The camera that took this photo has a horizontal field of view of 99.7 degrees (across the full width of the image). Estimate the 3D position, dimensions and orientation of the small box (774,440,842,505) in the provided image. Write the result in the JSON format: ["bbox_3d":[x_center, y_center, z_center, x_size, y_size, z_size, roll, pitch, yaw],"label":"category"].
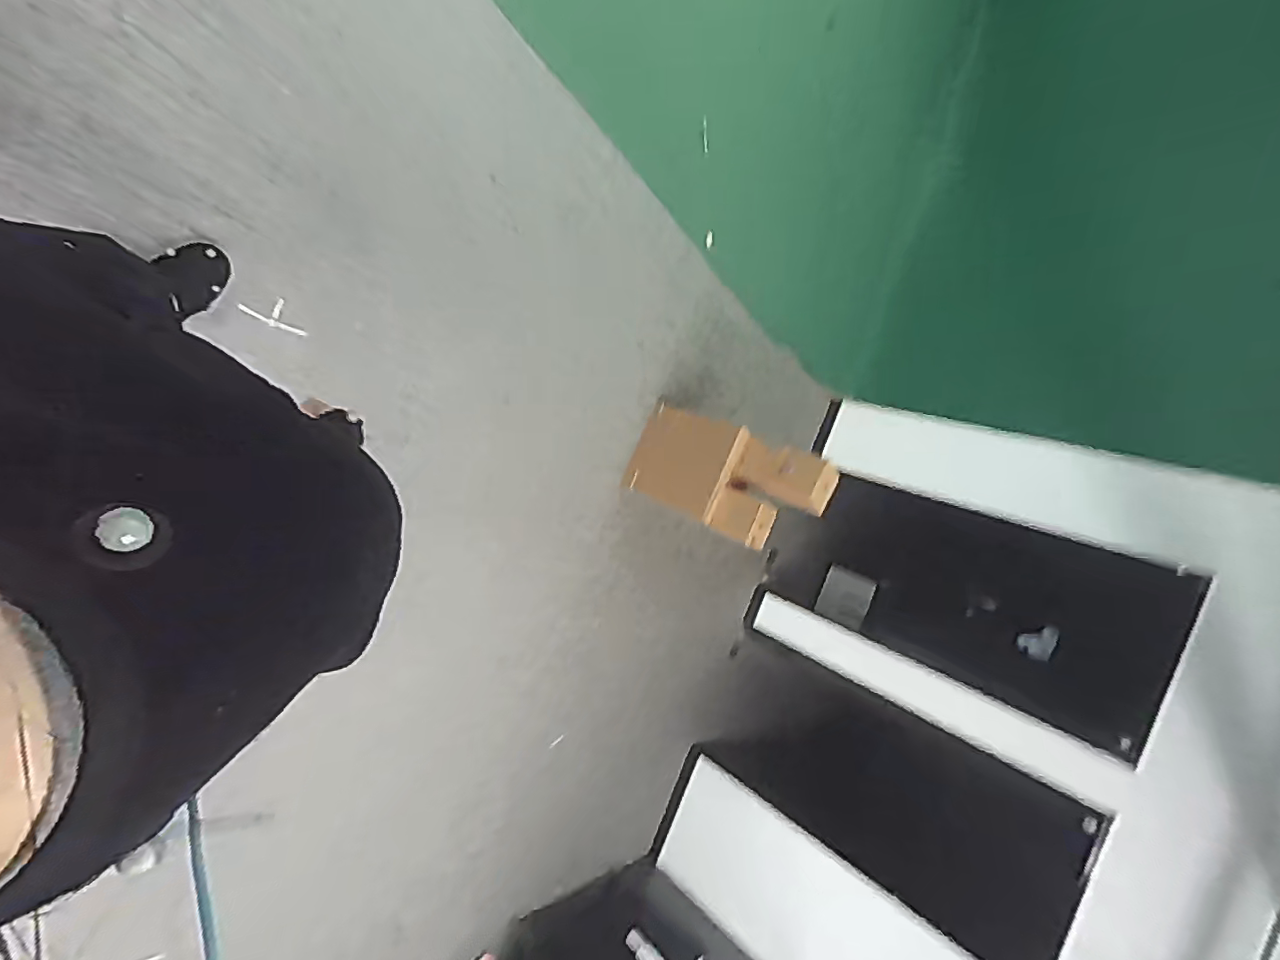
[{"bbox_3d":[0.635,-0.032,2.044,0.179,0.176,0.168,37,79,-50],"label":"small box"}]
